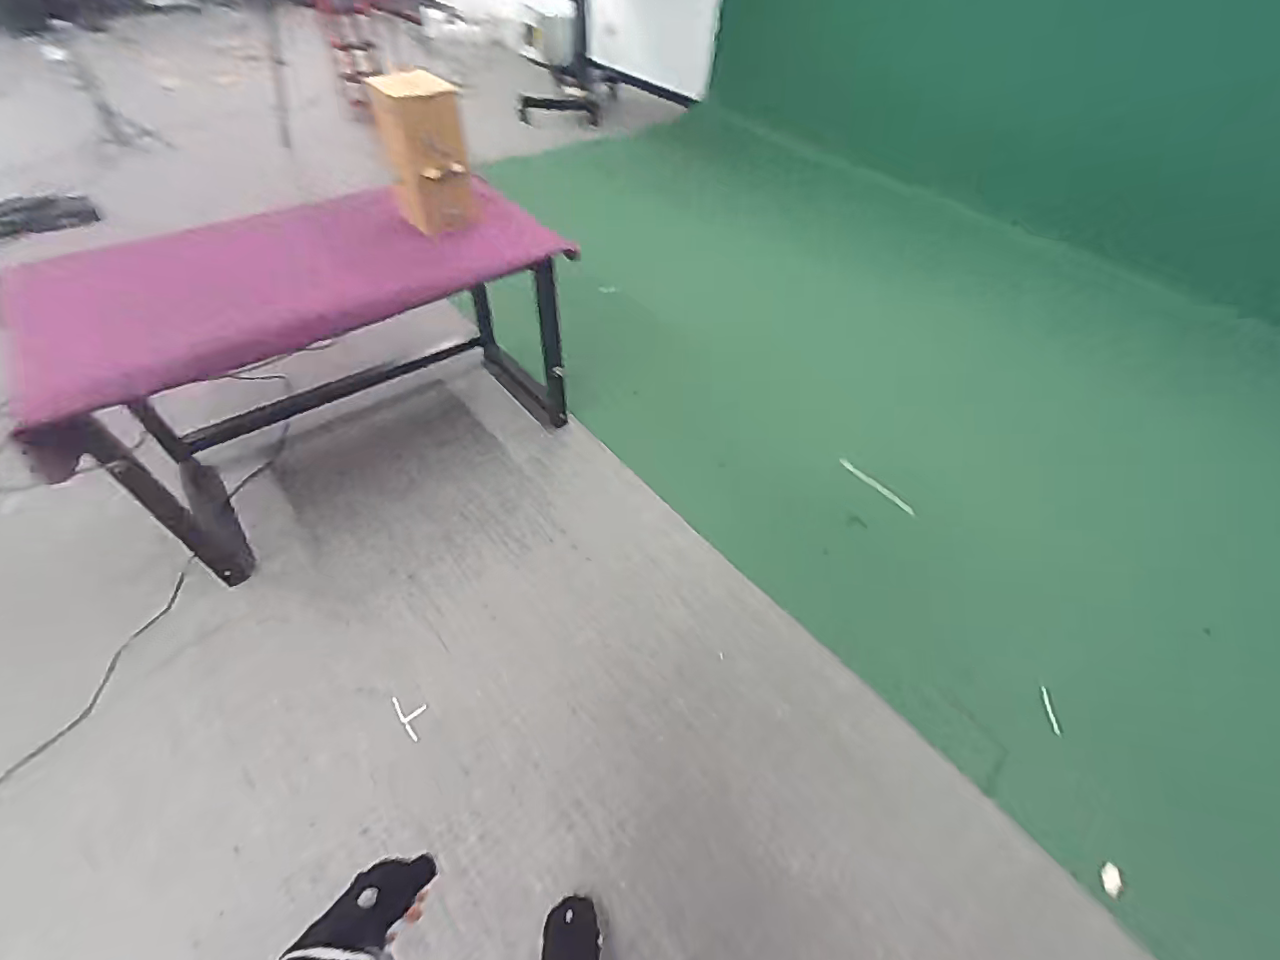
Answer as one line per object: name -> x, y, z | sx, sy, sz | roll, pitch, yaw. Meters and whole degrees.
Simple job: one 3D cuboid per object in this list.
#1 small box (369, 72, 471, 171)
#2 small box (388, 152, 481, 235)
small box -> -0.562, -0.926, 1.397 | 0.168, 0.176, 0.179 | -32, 59, -27
small box -> -0.570, -0.816, 1.517 | 0.168, 0.176, 0.179 | -33, 59, -27
